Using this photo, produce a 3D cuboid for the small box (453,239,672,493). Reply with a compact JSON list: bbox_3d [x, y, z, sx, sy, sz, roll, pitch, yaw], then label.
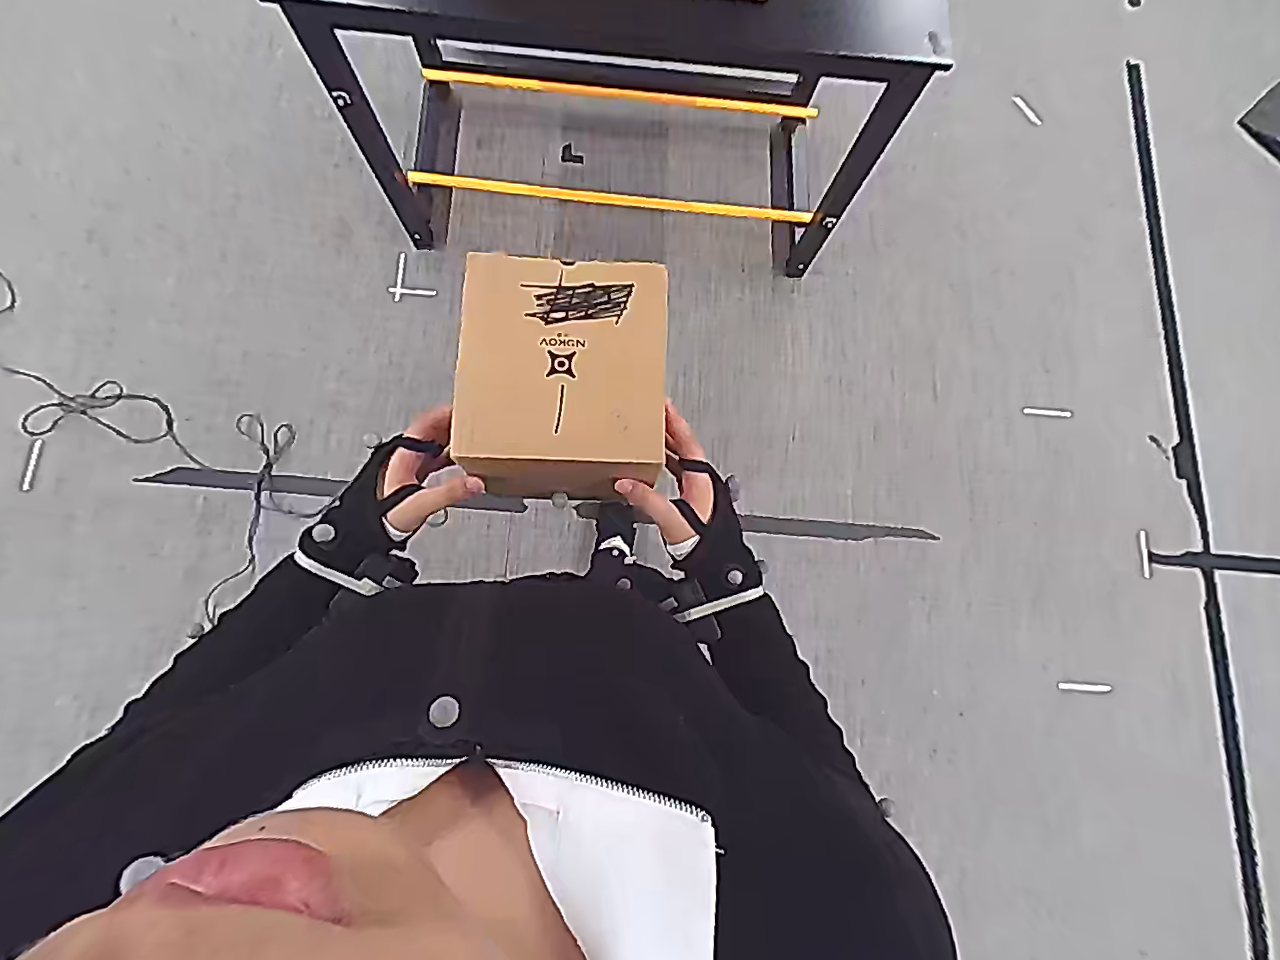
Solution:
[{"bbox_3d":[-0.063,-0.092,0.505,0.168,0.176,0.179,2,78,-4],"label":"small box"}]
